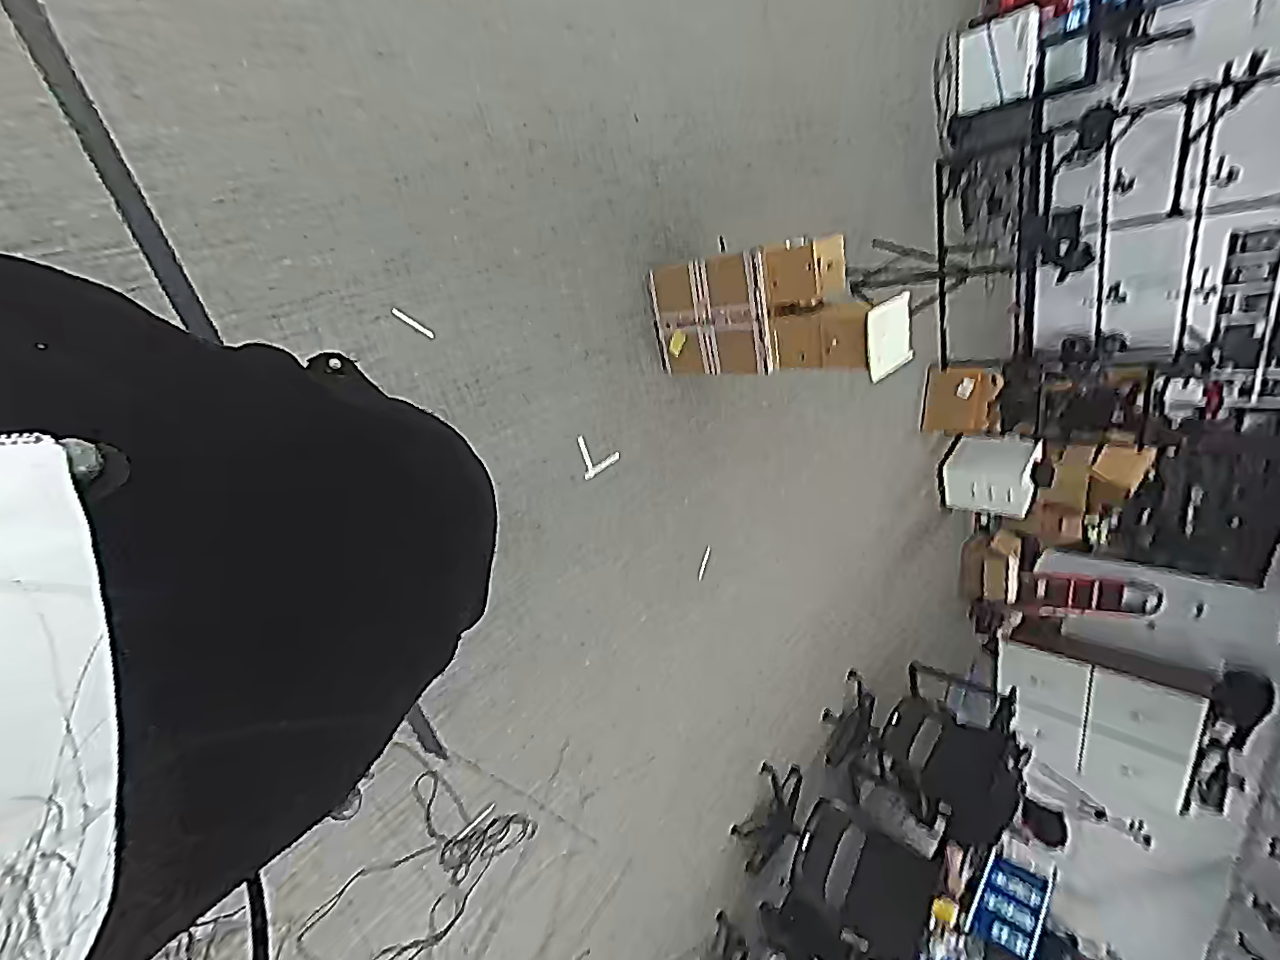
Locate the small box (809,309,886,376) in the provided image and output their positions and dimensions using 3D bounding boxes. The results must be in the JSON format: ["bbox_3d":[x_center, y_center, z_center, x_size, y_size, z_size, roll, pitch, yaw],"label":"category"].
[{"bbox_3d":[0.652,-0.434,1.696,0.179,0.176,0.168,-31,120,-35],"label":"small box"}]
